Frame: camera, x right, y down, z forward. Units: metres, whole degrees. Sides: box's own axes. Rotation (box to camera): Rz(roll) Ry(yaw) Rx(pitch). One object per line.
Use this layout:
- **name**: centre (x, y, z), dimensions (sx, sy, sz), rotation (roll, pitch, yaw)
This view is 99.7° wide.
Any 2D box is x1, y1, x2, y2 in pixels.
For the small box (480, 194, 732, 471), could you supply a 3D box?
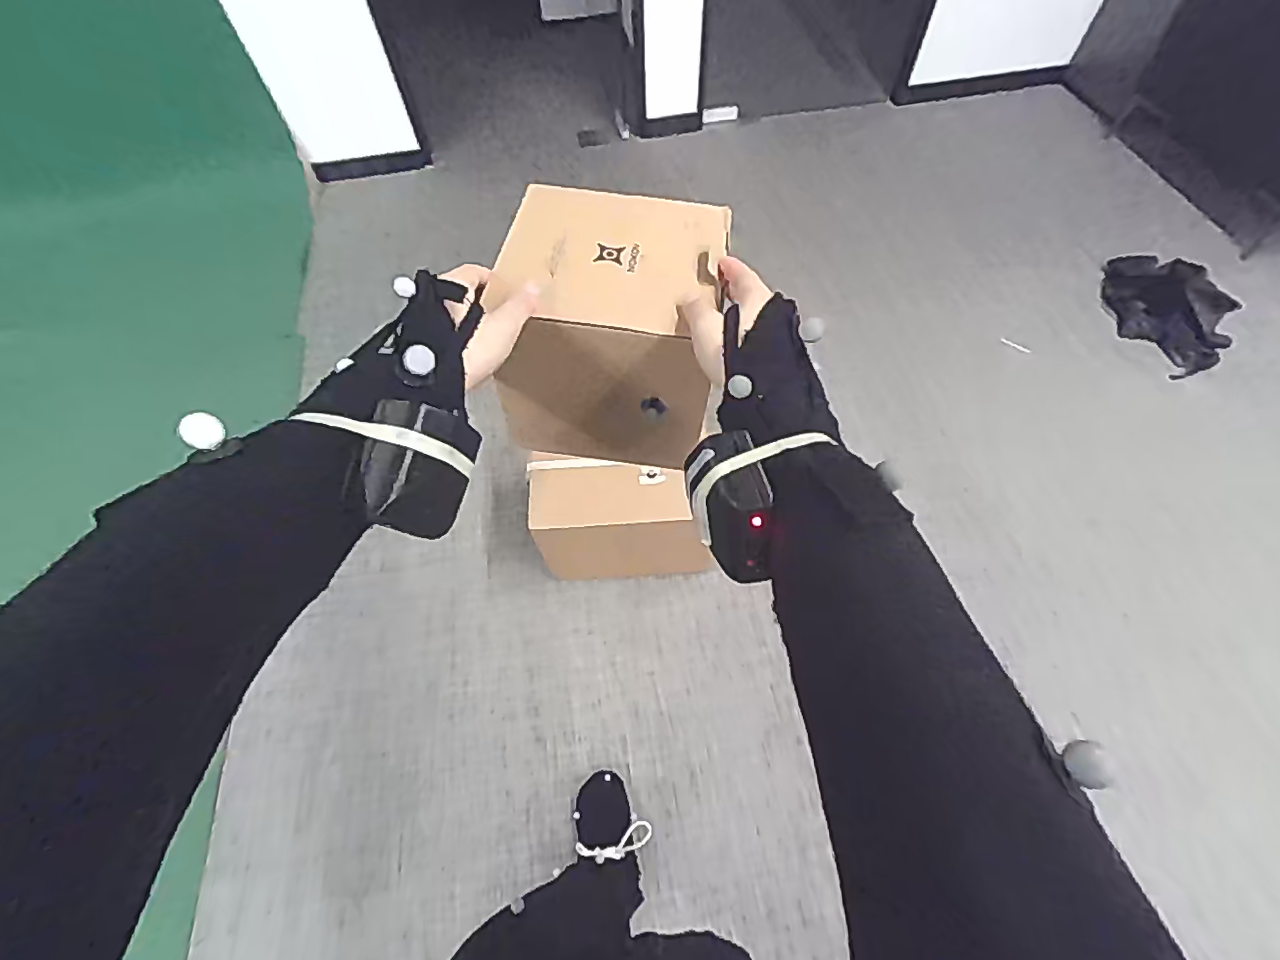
- **small box**: centre (-0.021, -0.125, 0.488), dimensions (0.179, 0.176, 0.168), rotation (7, 56, 2)

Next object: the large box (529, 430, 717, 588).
- **large box**: centre (-0.046, 0.056, 1.329), dimensions (0.408, 0.320, 0.320), rotation (-3, 59, -2)
